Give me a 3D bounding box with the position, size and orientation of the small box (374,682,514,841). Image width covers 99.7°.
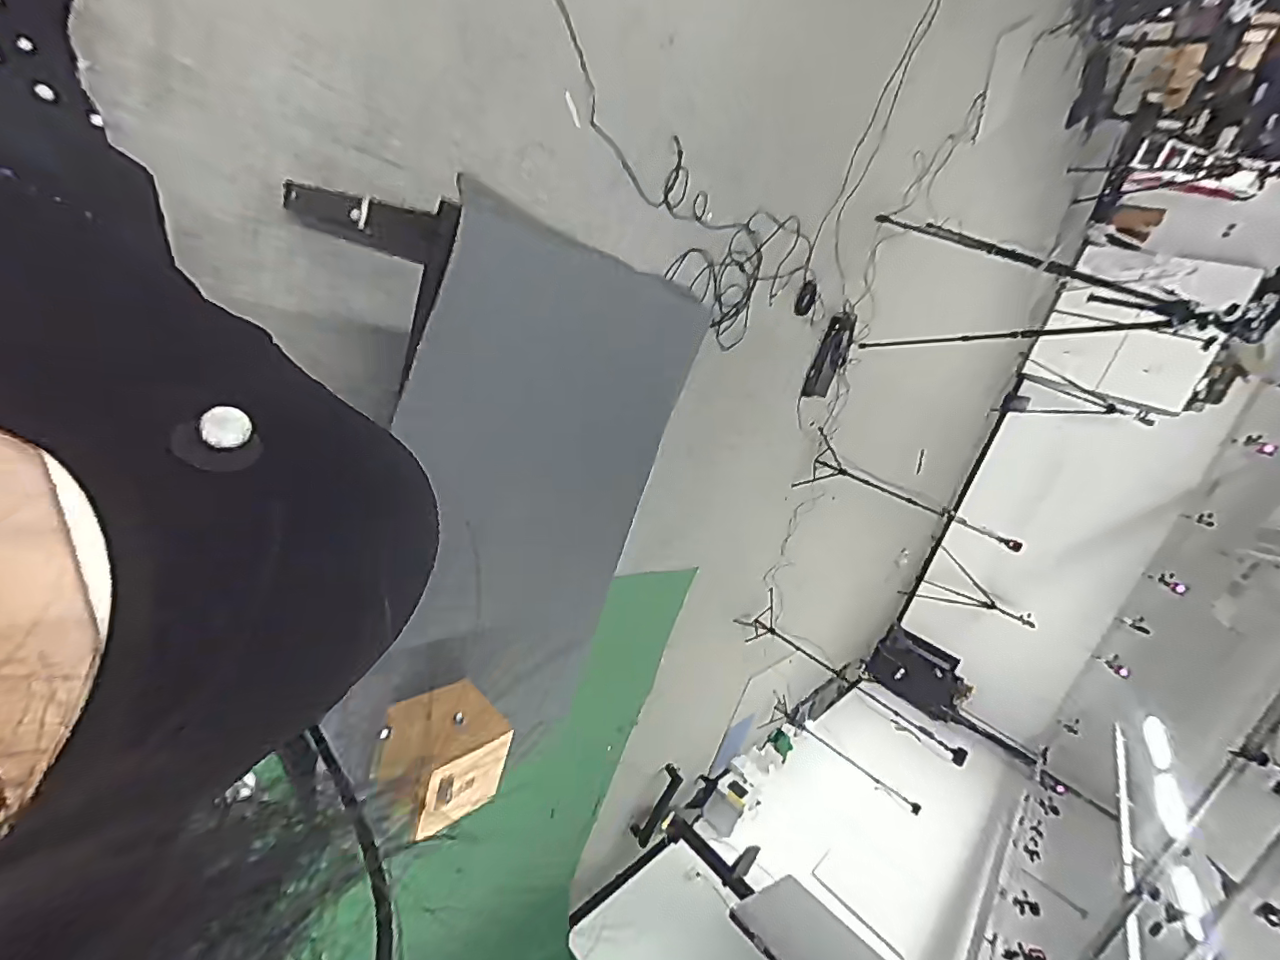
[{"bbox_3d":[-0.373,0.517,1.023,0.179,0.176,0.168,-2,114,-53],"label":"small box"}]
